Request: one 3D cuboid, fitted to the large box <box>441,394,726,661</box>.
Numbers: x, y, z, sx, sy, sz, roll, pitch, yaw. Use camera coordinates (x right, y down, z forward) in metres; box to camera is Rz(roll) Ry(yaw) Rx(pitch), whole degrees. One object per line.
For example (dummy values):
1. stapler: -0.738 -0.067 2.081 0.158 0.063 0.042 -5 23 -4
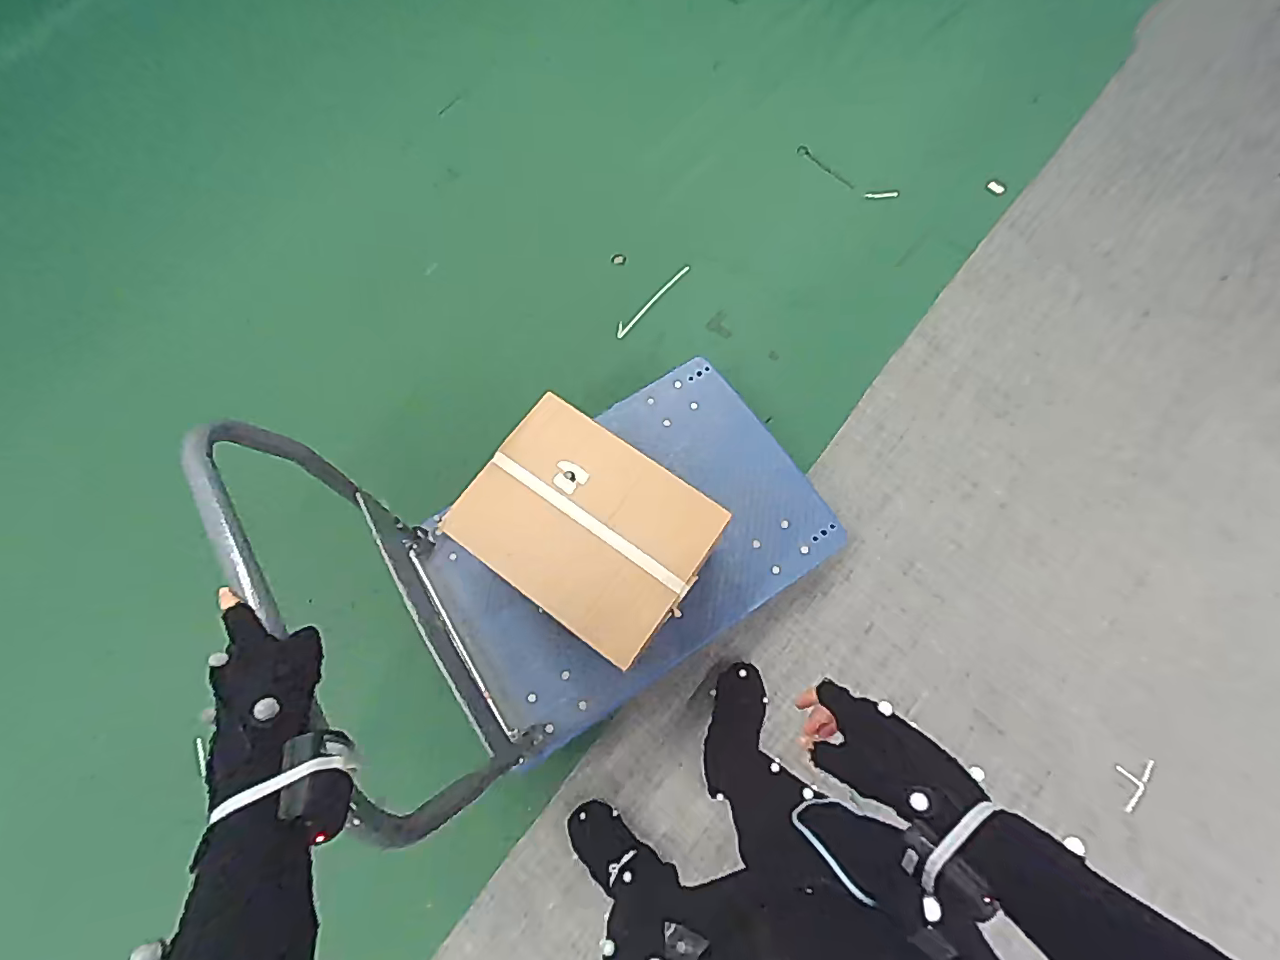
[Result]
1. large box: -0.090 0.108 1.065 0.408 0.320 0.320 35 77 12
